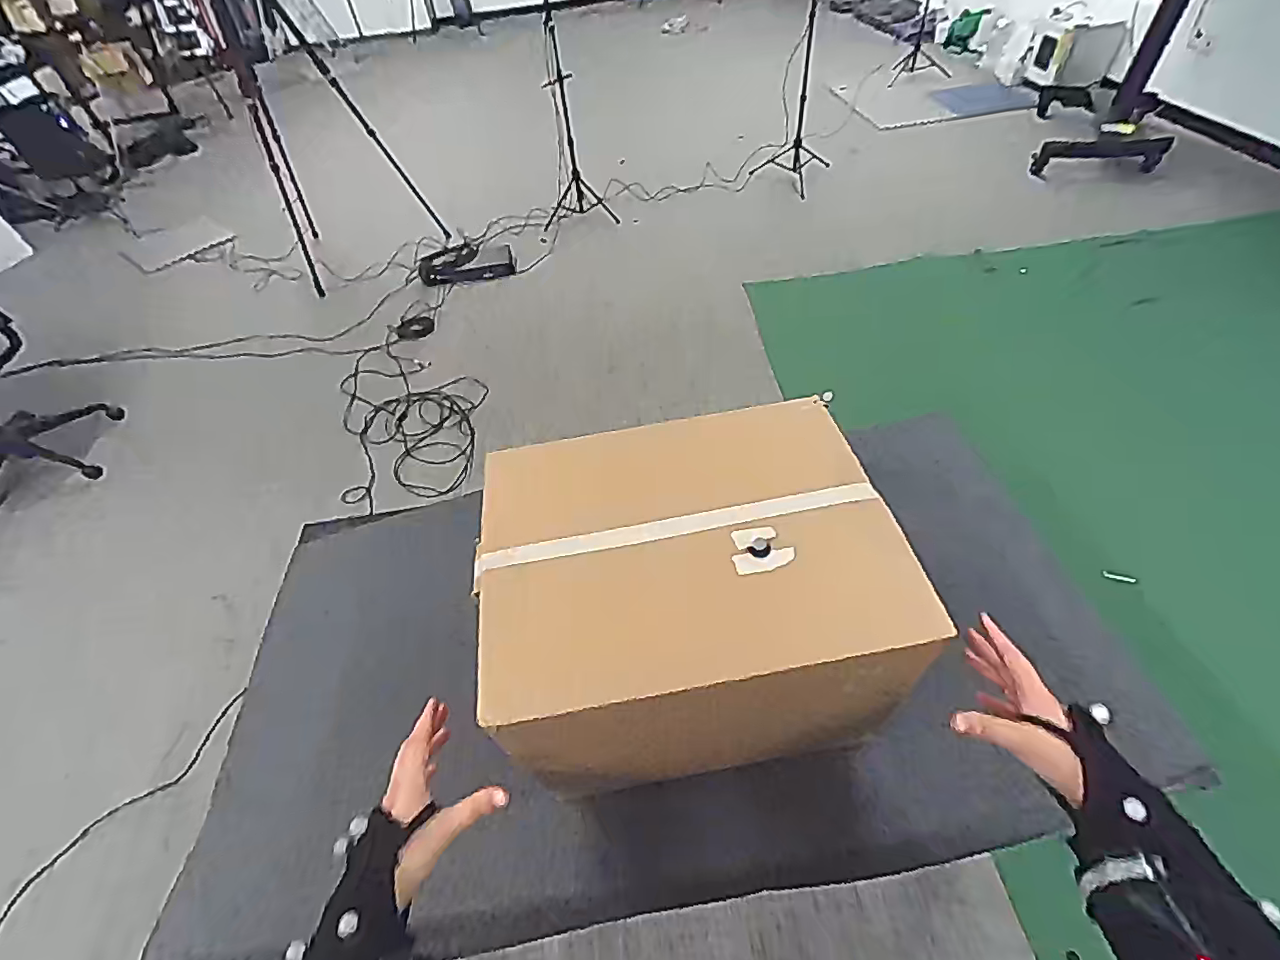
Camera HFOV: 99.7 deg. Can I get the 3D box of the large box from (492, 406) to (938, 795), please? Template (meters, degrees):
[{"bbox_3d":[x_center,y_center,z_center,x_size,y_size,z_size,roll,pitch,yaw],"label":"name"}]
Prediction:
[{"bbox_3d":[0.055,0.153,0.670,0.408,0.320,0.320,-10,50,-3],"label":"large box"}]
